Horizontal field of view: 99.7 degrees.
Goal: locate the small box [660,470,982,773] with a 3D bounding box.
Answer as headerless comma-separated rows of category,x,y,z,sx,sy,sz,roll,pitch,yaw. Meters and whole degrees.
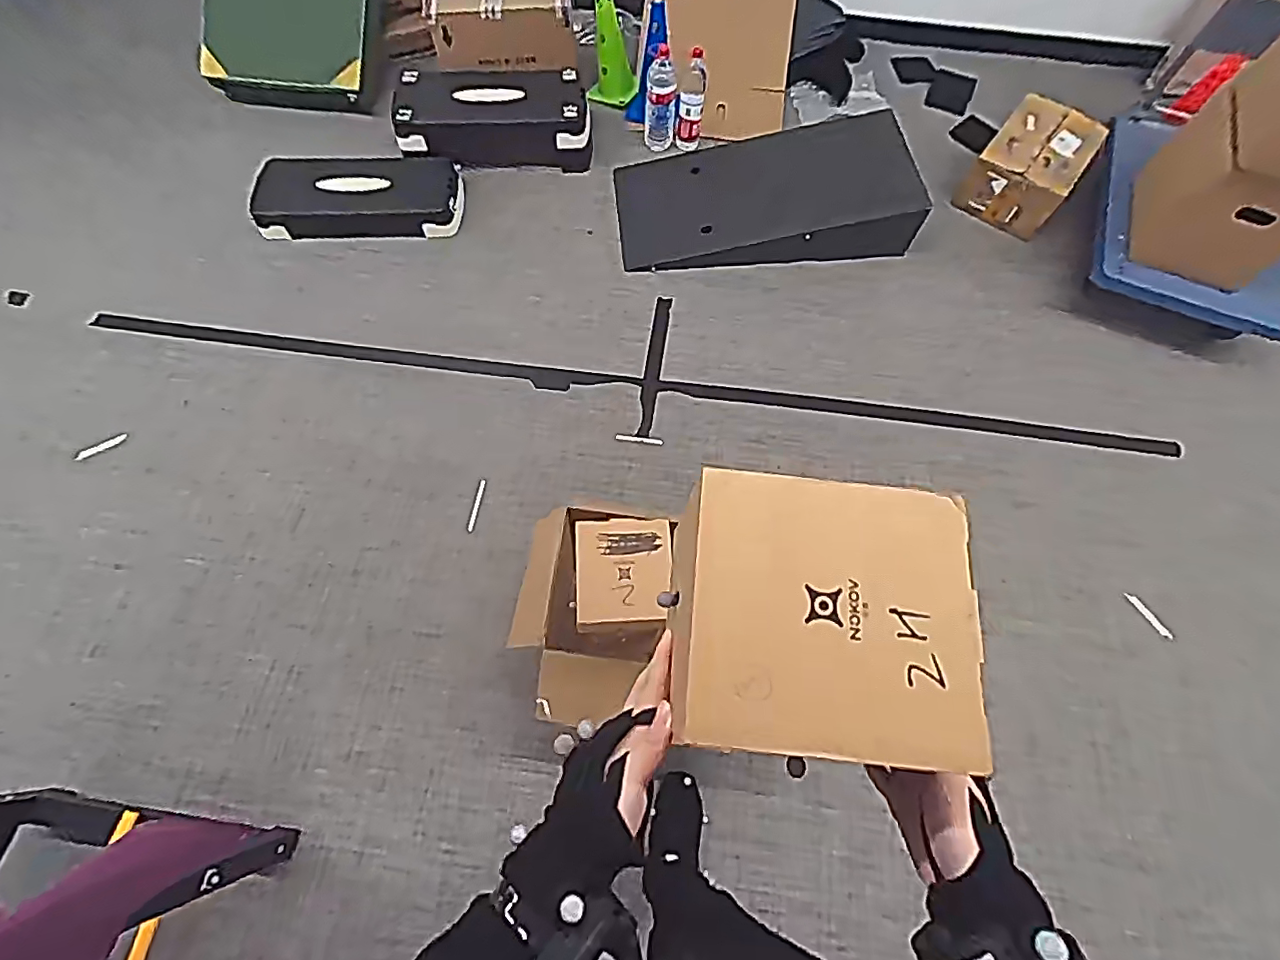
small box,0.111,0.104,0.403,0.179,0.176,0.168,7,71,0

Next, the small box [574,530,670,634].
small box,-0.037,0.222,1.147,0.179,0.176,0.168,-10,70,-10
